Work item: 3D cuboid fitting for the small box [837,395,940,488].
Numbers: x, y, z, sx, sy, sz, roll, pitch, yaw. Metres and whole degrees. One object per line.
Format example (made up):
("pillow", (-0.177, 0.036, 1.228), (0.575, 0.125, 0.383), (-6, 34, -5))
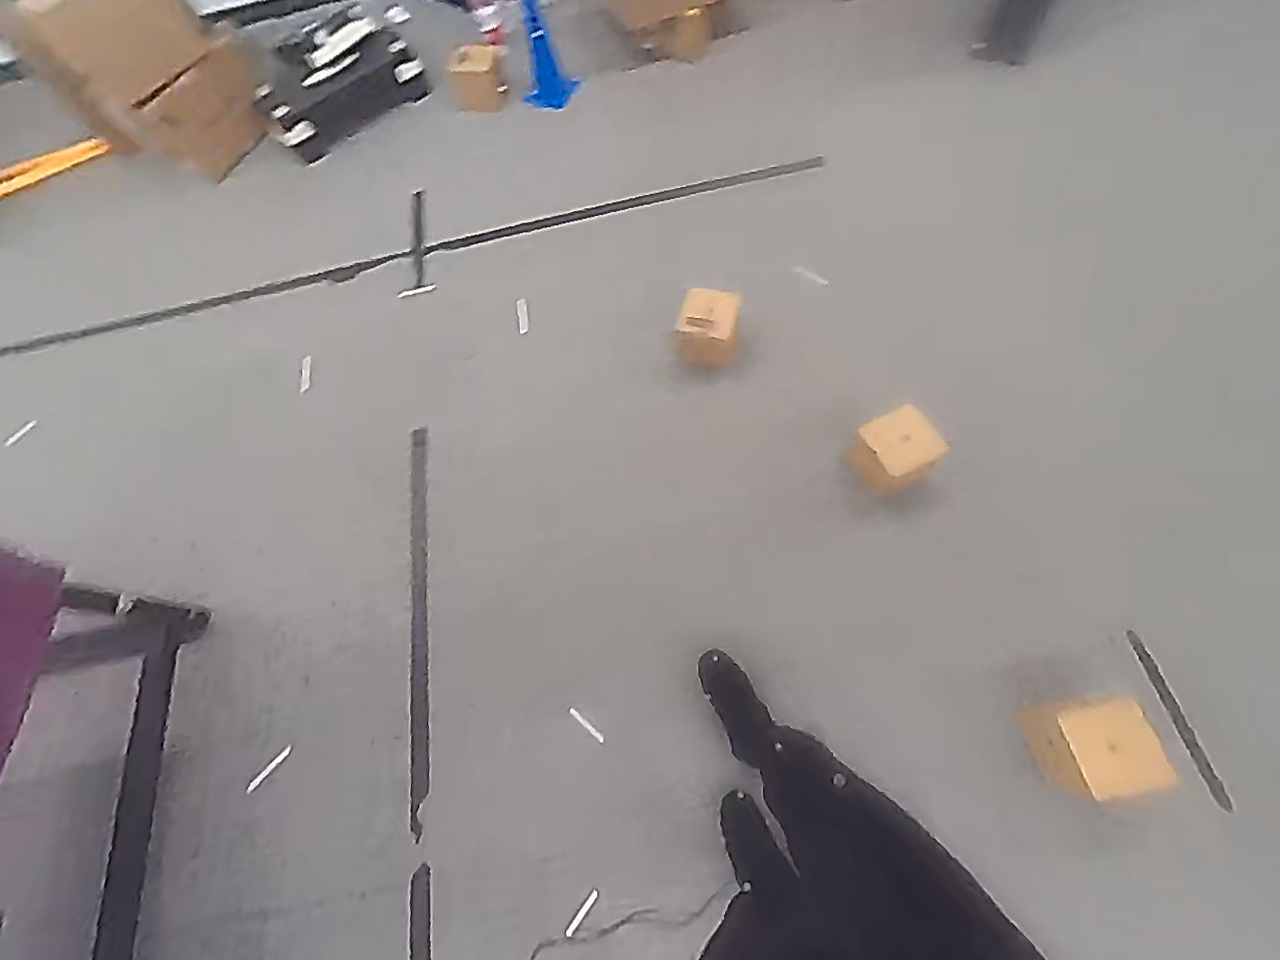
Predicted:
("small box", (0.683, -0.101, 1.509), (0.179, 0.176, 0.168), (-25, 68, -4))
